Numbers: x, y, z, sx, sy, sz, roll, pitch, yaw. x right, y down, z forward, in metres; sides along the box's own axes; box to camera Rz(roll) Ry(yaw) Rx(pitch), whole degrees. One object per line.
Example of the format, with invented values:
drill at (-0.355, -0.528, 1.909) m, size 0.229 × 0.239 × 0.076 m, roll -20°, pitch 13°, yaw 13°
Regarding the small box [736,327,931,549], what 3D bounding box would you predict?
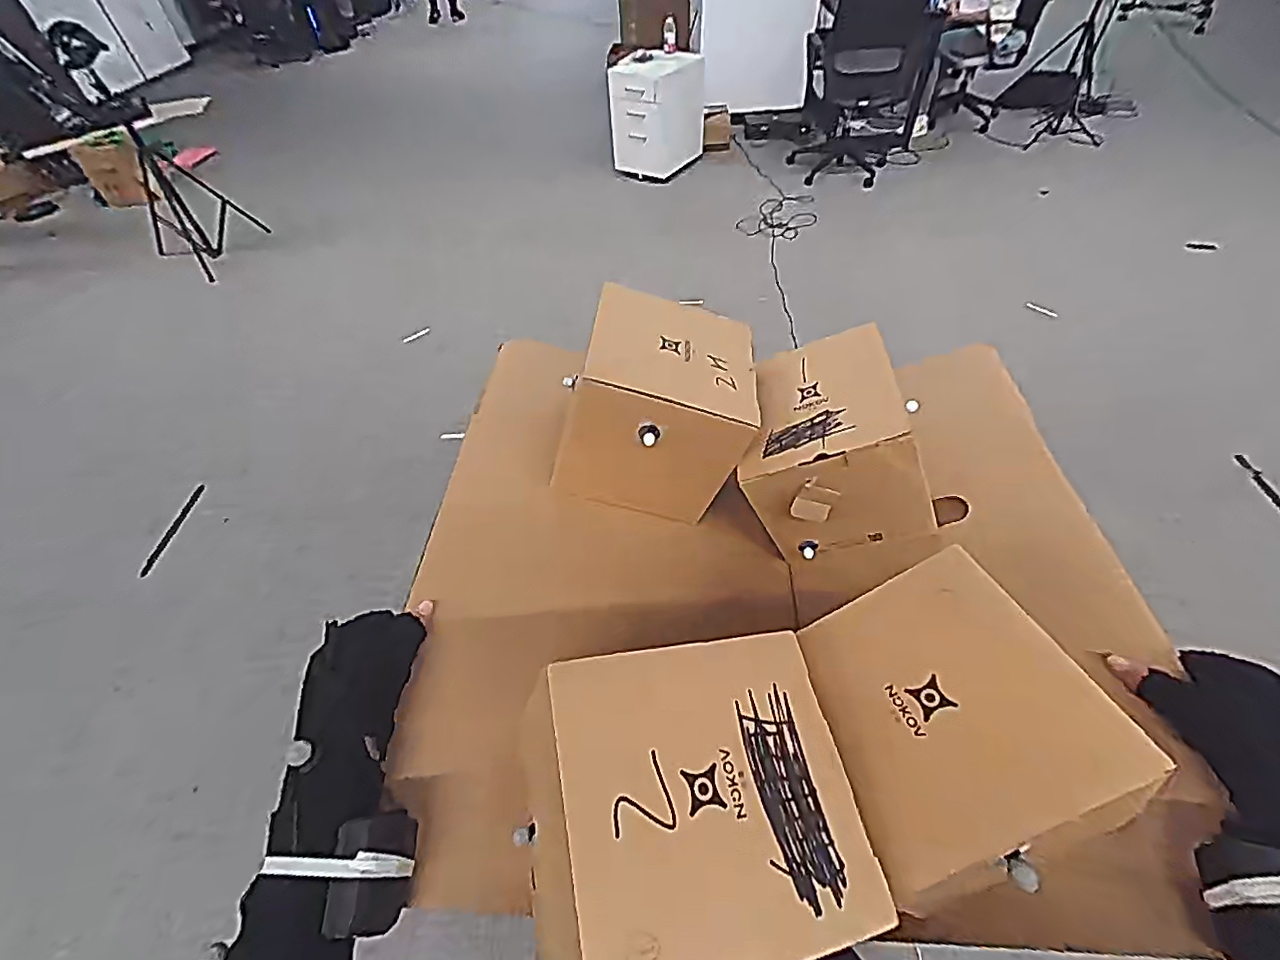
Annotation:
small box at (0.219, -0.036, 0.624) m, size 0.168 × 0.176 × 0.179 m, roll -16°, pitch 44°, yaw 25°
